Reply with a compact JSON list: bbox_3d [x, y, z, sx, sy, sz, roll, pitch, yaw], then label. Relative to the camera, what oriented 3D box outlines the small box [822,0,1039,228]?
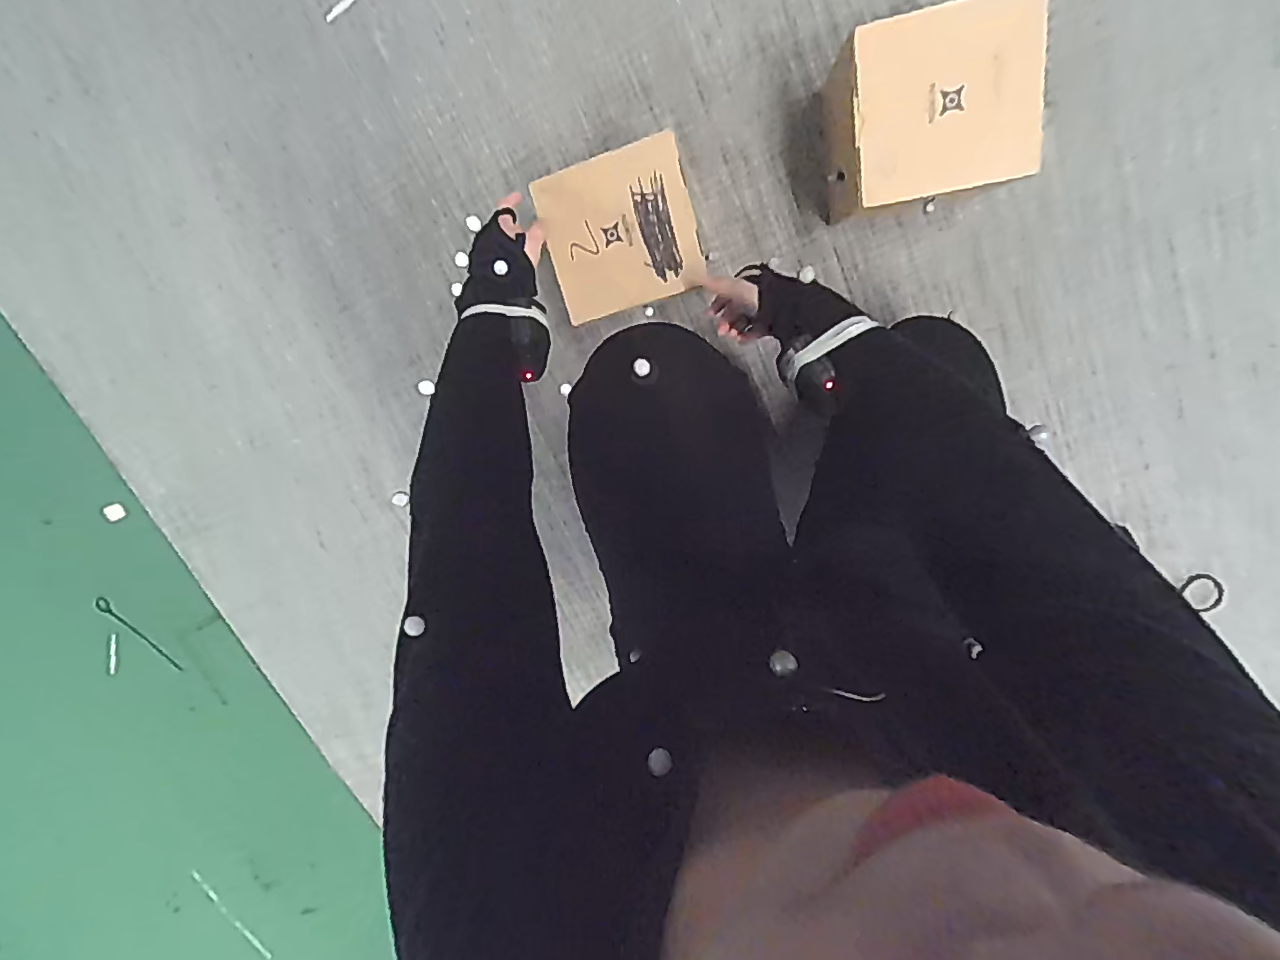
[{"bbox_3d":[0.310,-0.397,0.616,0.179,0.176,0.168,-7,108,10],"label":"small box"}]
